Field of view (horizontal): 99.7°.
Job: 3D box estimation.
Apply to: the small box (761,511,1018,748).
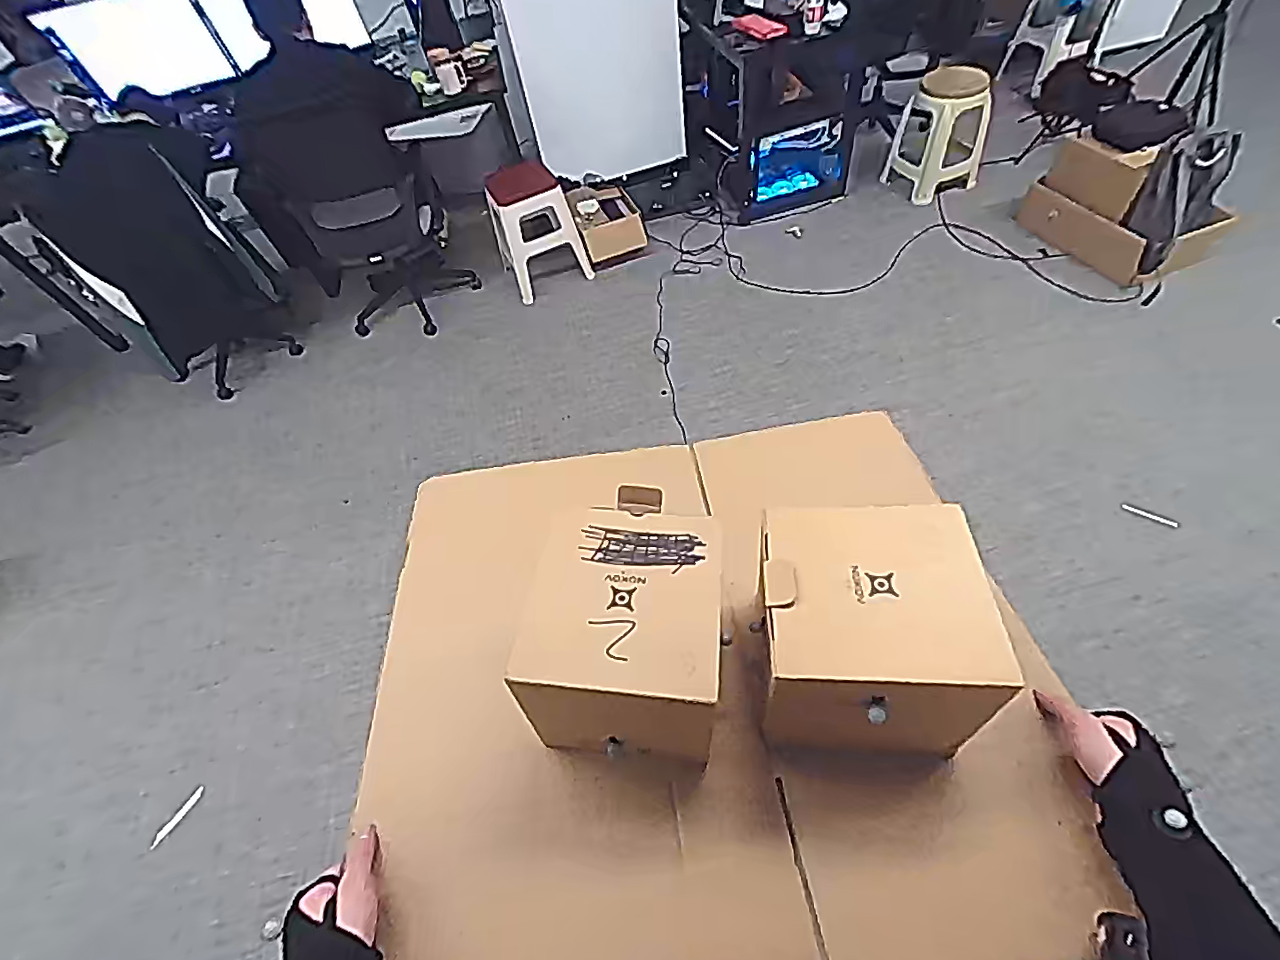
[{"bbox_3d":[0.210,0.145,0.516,0.179,0.176,0.168,-2,49,10],"label":"small box"}]
